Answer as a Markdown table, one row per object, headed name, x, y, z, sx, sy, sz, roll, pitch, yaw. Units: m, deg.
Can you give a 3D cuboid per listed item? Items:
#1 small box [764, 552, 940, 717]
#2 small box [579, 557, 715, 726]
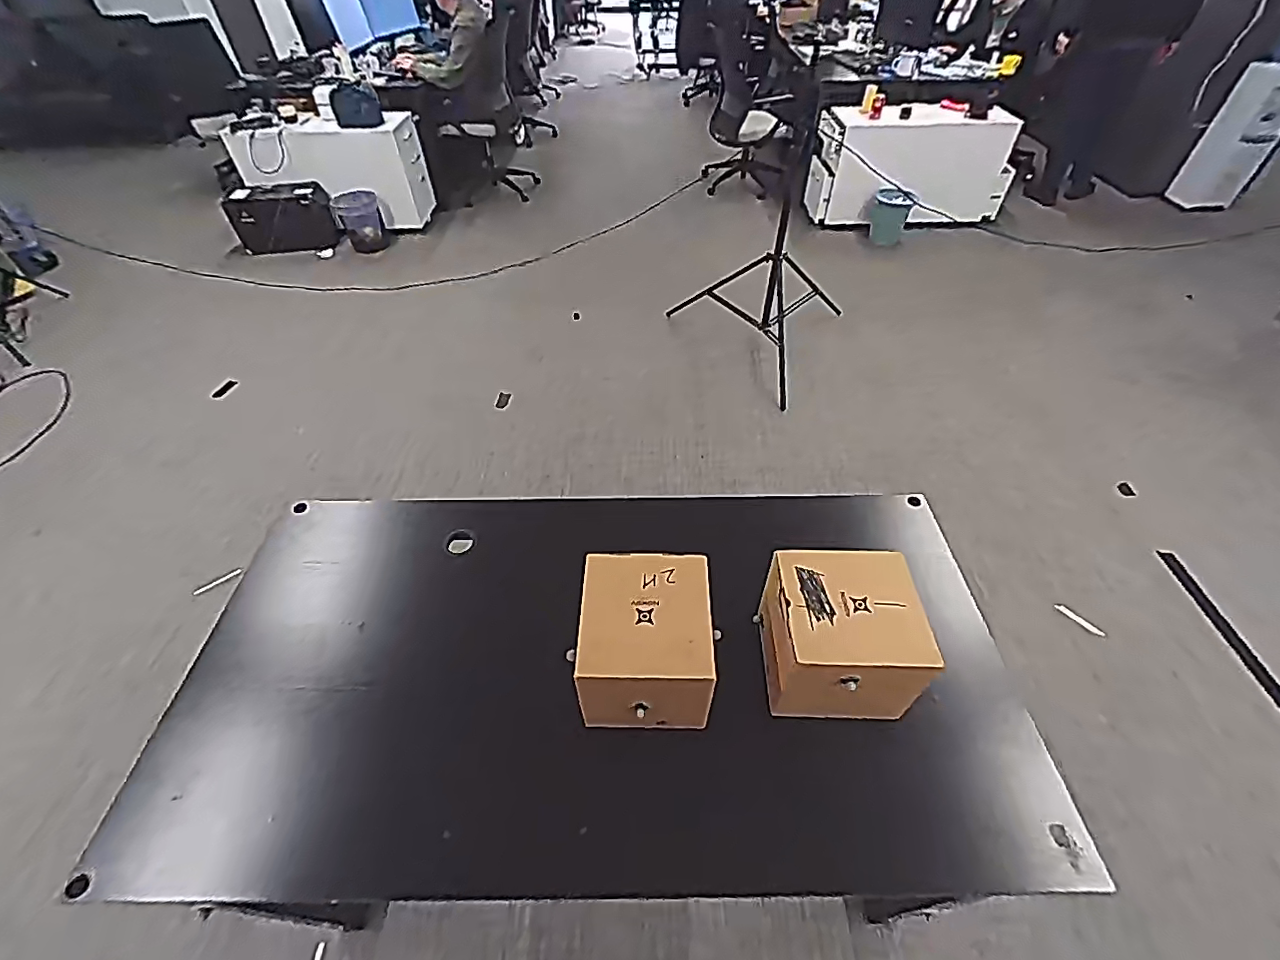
| name | x | y | z | sx | sy | sz | roll | pitch | yaw |
| --- | --- | --- | --- | --- | --- | --- | --- | --- | --- |
| small box | 0.274 | 0.217 | 0.752 | 0.179 | 0.176 | 0.168 | 1 | 47 | 2 |
| small box | 0.013 | 0.226 | 0.749 | 0.168 | 0.176 | 0.179 | 1 | 47 | 1 |
